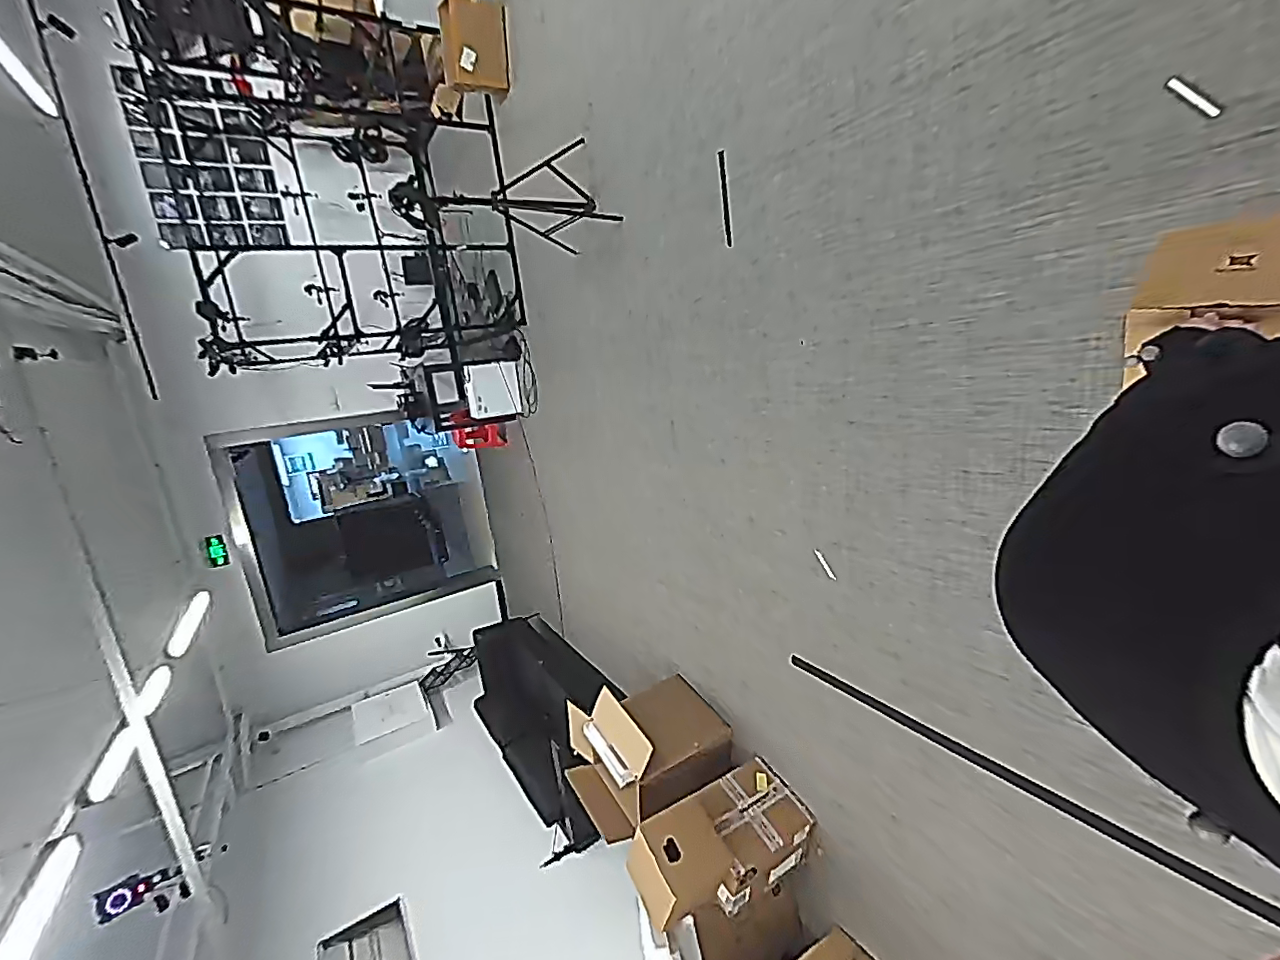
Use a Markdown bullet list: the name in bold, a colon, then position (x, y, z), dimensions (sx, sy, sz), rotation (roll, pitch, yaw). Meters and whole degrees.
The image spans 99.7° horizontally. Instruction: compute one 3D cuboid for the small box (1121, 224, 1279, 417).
- **small box**: position (0.751, -0.201, 0.694), dimensions (0.168, 0.179, 0.176), rotation (18, 149, 49)
